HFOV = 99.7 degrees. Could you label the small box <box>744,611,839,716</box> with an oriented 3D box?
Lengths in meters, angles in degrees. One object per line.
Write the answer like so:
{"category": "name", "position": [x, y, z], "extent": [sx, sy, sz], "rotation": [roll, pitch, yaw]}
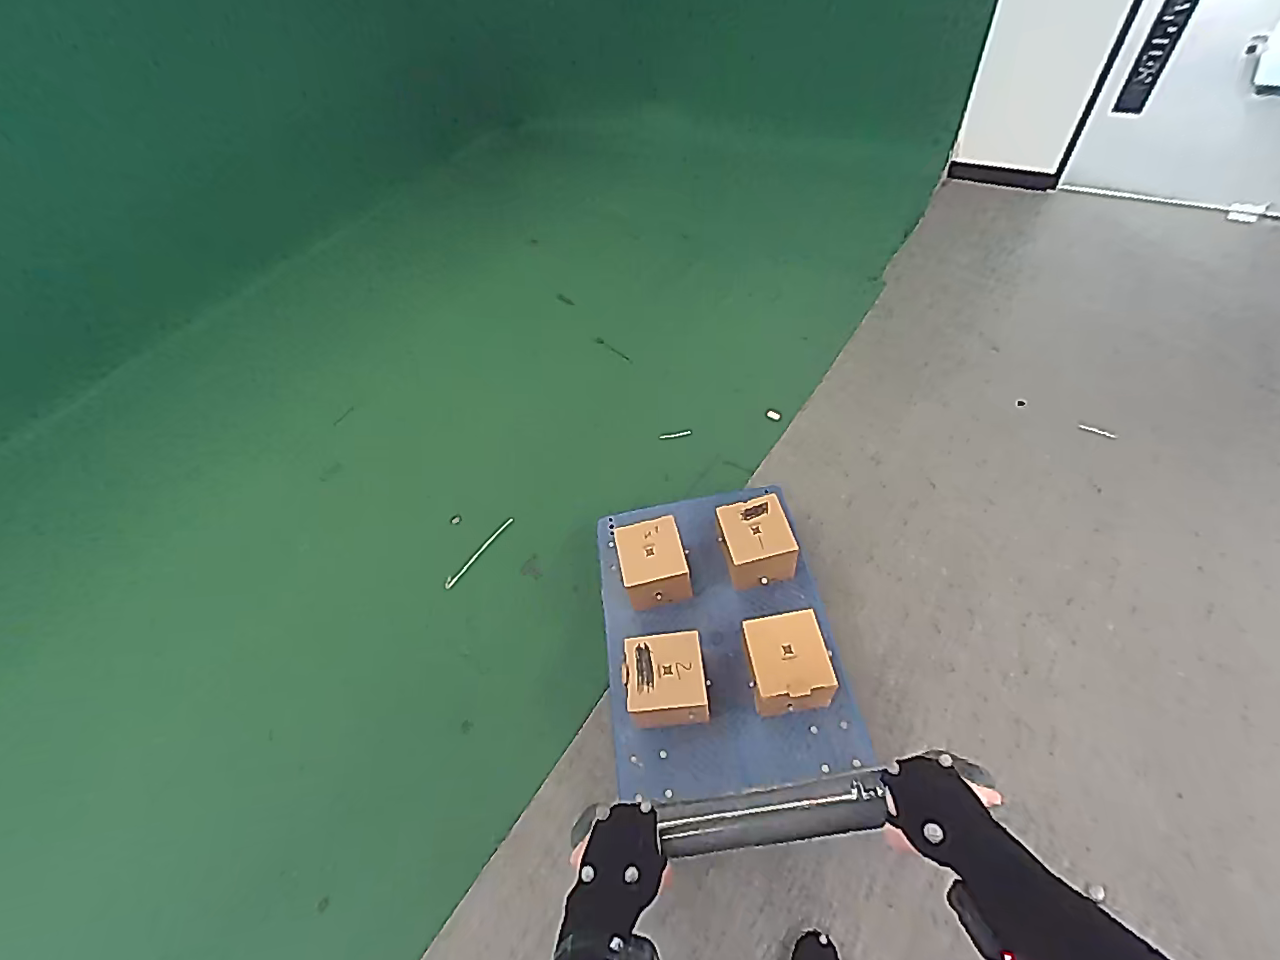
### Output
{"category": "small box", "position": [0.338, 0.427, 1.251], "extent": [0.168, 0.176, 0.179], "rotation": [-11, 54, 2]}

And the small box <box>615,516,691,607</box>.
{"category": "small box", "position": [0.038, 0.226, 1.444], "extent": [0.168, 0.176, 0.179], "rotation": [-13, 54, -1]}

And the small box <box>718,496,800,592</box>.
{"category": "small box", "position": [0.309, 0.171, 1.438], "extent": [0.168, 0.176, 0.179], "rotation": [-14, 54, 0]}
